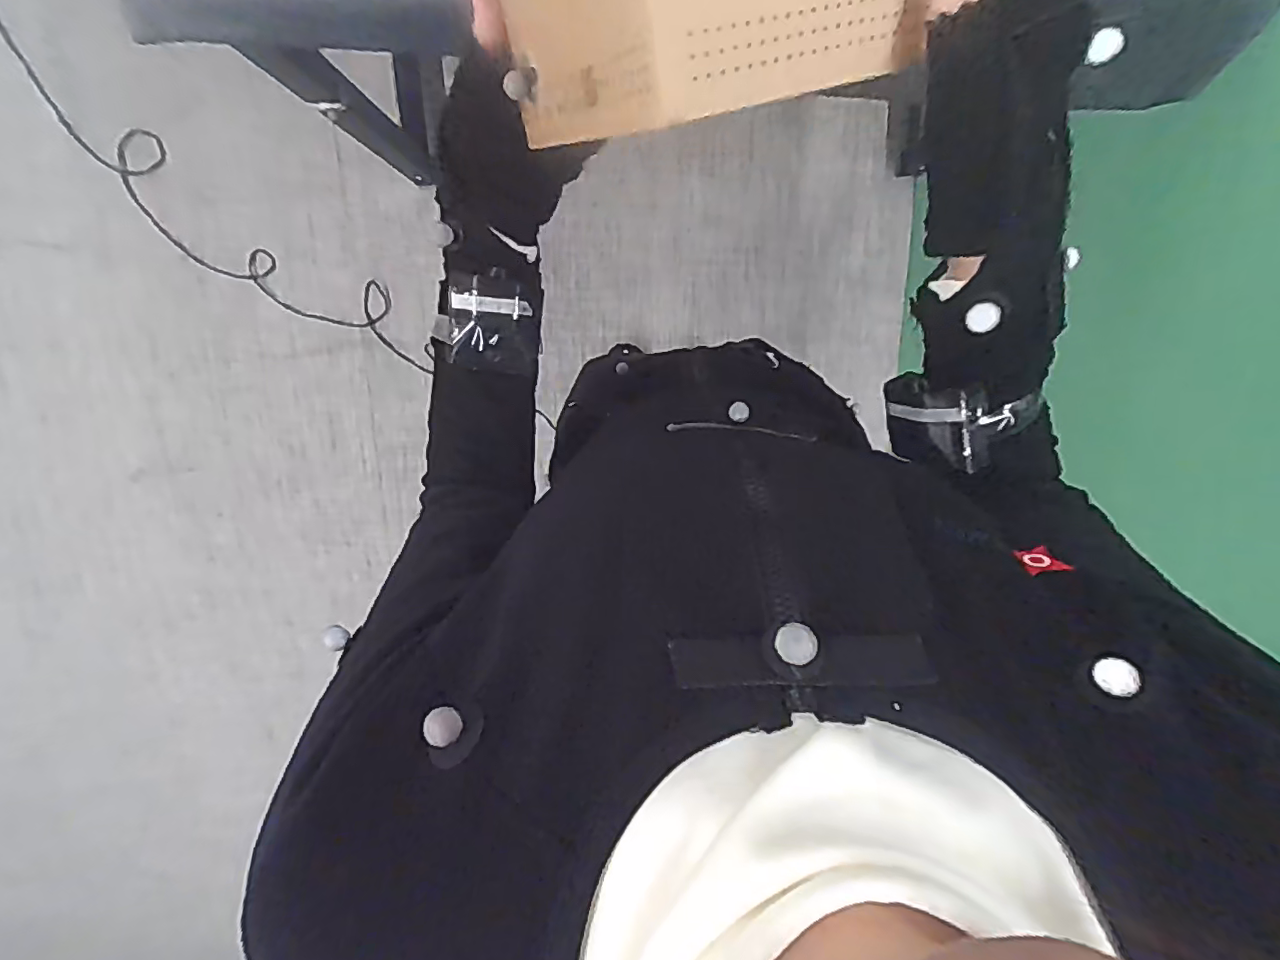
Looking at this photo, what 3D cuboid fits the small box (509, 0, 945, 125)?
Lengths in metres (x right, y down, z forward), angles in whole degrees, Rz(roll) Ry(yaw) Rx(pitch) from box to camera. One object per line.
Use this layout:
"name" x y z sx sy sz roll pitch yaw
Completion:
"small box" 0.031 -0.279 0.253 0.179 0.168 0.176 -26 127 -19
